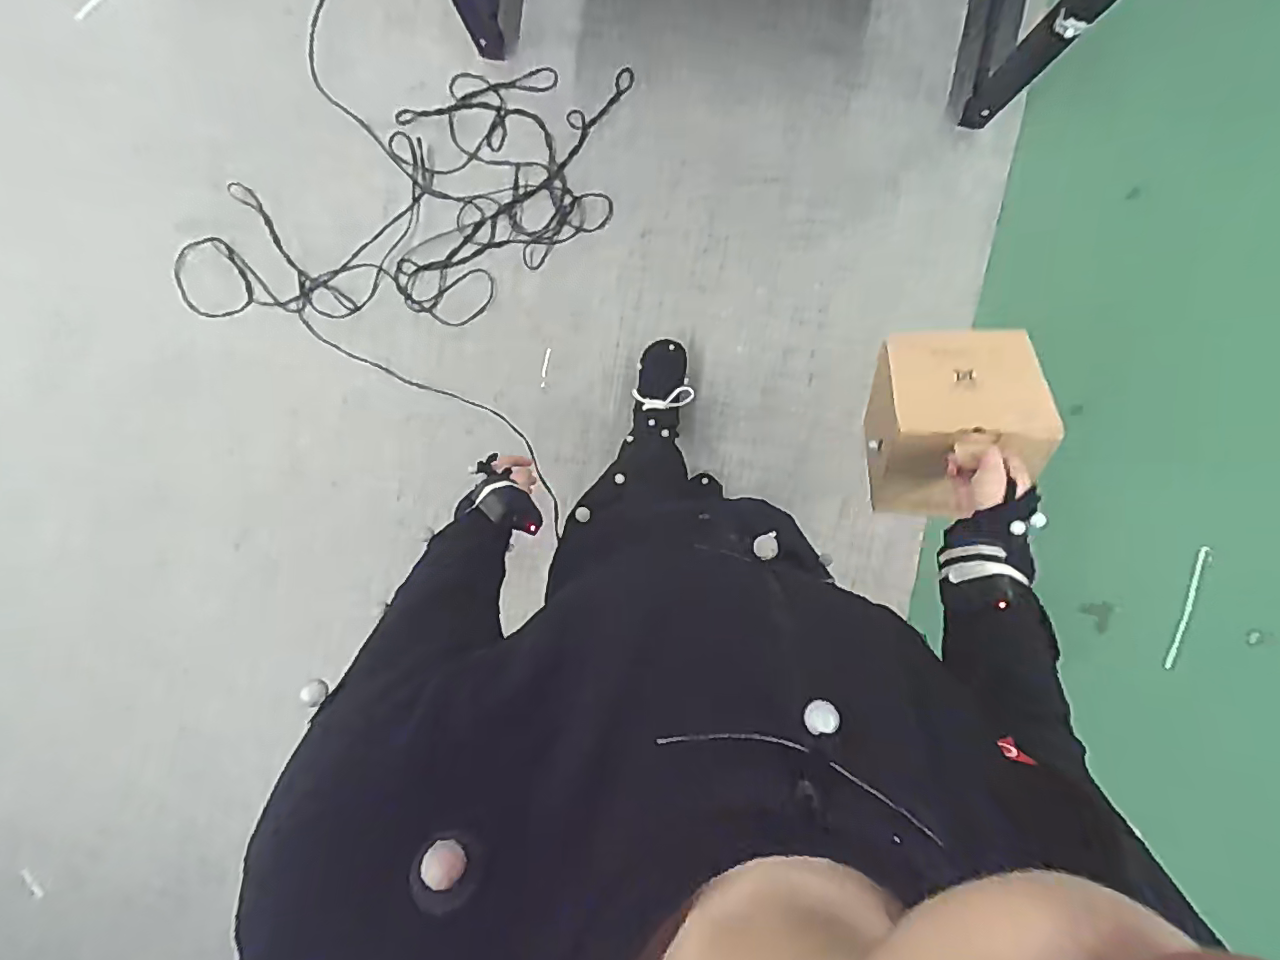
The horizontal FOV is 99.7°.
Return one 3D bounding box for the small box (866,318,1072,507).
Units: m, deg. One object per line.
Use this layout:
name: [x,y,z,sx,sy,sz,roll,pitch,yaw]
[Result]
small box: [0.392,-0.081,0.683,0.168,0.176,0.179,2,52,12]
